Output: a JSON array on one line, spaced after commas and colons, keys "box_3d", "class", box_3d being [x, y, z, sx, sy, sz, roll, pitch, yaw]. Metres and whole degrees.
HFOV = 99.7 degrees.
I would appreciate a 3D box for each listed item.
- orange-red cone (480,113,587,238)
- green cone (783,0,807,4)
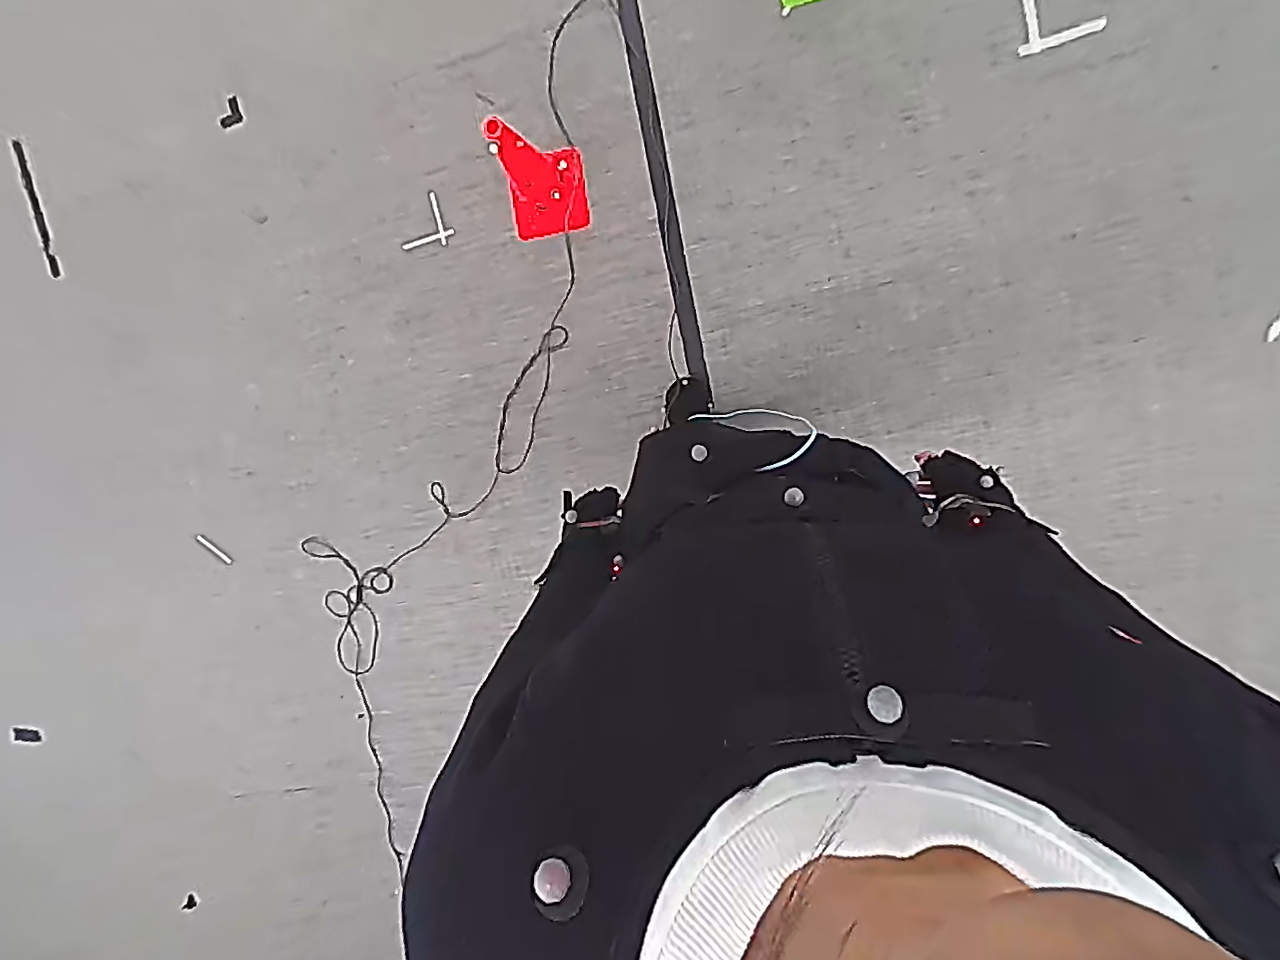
[{"box_3d": [-0.267, -0.712, 1.219, 0.199, 0.360, 0.198, -6, 96, 11], "class": "orange-red cone"}, {"box_3d": [0.380, -1.176, 1.049, 0.202, 0.368, 0.200, -11, 96, 9], "class": "green cone"}]
